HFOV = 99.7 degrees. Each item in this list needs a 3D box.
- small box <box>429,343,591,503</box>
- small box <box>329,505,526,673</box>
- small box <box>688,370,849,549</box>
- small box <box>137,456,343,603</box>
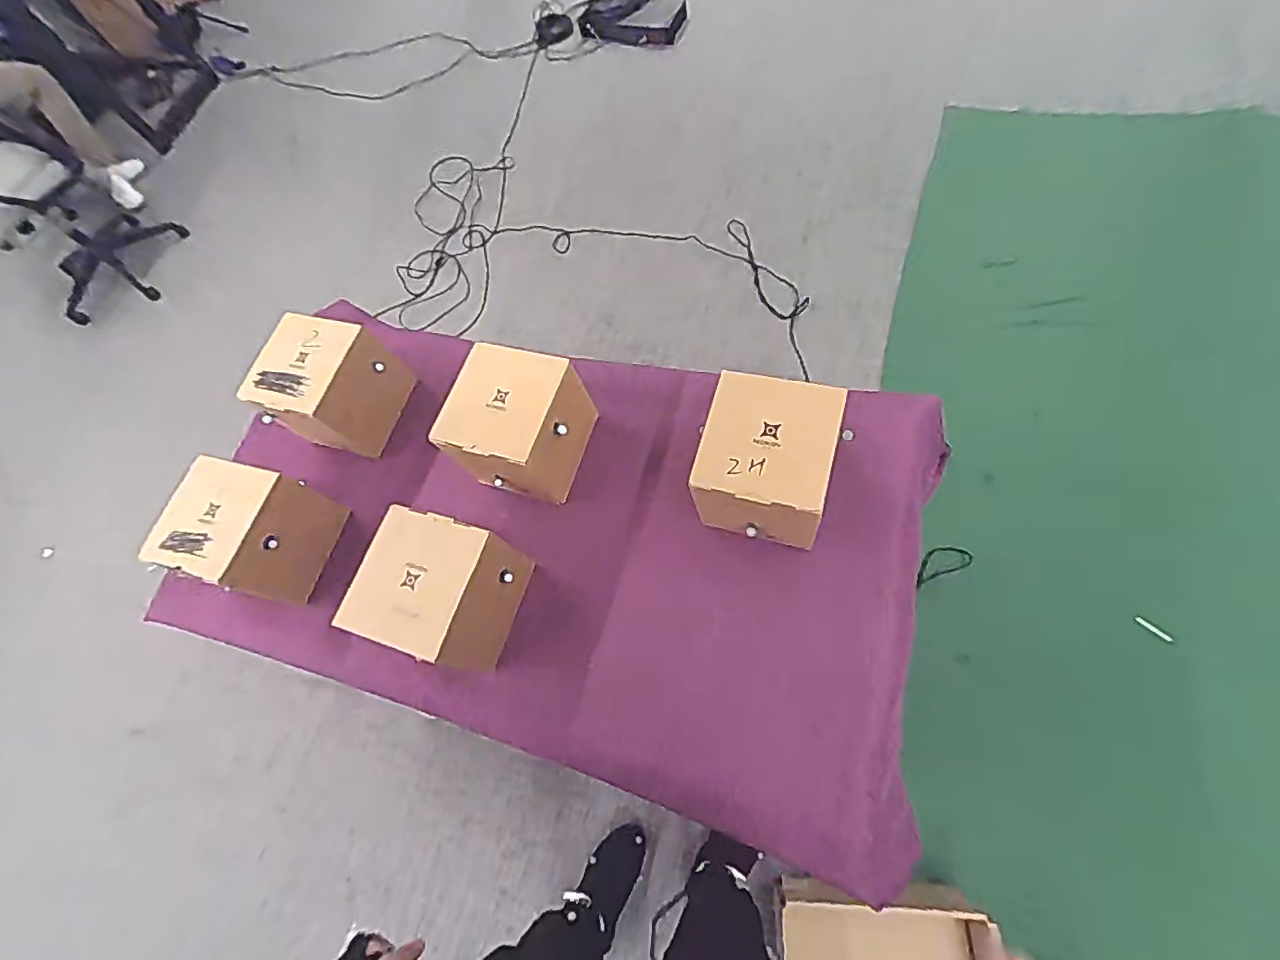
[{"bbox_3d":[-0.189,-0.085,0.853,0.168,0.176,0.179,14,73,16],"label":"small box"},{"bbox_3d":[-0.283,0.160,0.769,0.168,0.176,0.179,13,70,18],"label":"small box"},{"bbox_3d":[0.177,-0.023,0.746,0.168,0.176,0.179,13,72,18],"label":"small box"},{"bbox_3d":[-0.624,0.086,0.869,0.168,0.176,0.179,11,69,16],"label":"small box"}]
